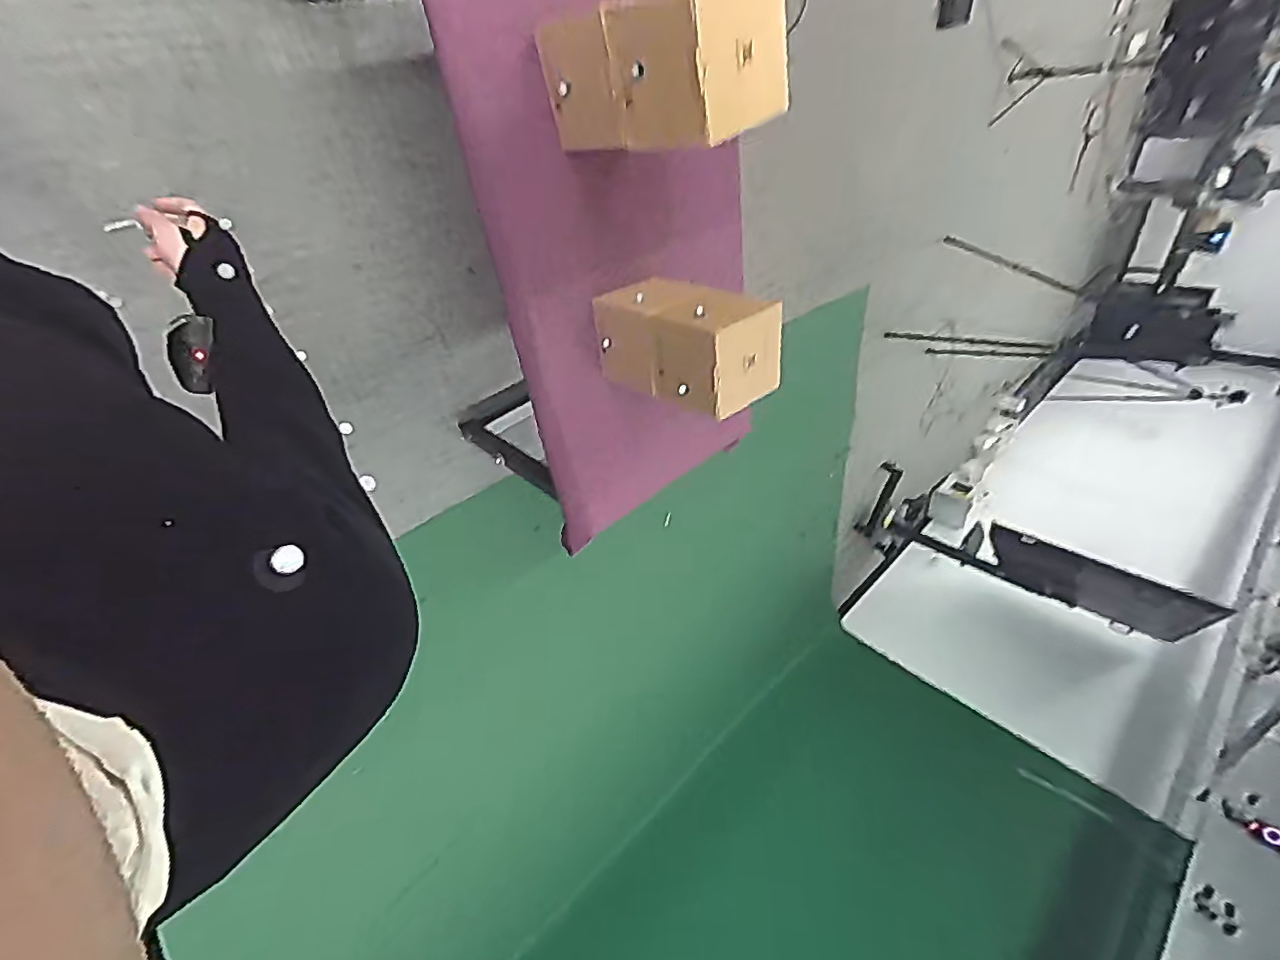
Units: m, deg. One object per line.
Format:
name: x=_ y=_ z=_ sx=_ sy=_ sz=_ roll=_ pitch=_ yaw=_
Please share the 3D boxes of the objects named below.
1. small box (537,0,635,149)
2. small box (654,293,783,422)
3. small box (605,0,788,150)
small box: x=-0.029 y=-0.633 z=0.847 sx=0.179 sy=0.176 sz=0.168 roll=-36 pitch=133 yaw=-26
small box: x=0.139 y=-0.231 z=0.991 sx=0.179 sy=0.176 sz=0.168 roll=-31 pitch=131 yaw=-30
small box: x=0.082 y=-0.573 z=0.744 sx=0.179 sy=0.176 sz=0.168 roll=-38 pitch=134 yaw=-24
